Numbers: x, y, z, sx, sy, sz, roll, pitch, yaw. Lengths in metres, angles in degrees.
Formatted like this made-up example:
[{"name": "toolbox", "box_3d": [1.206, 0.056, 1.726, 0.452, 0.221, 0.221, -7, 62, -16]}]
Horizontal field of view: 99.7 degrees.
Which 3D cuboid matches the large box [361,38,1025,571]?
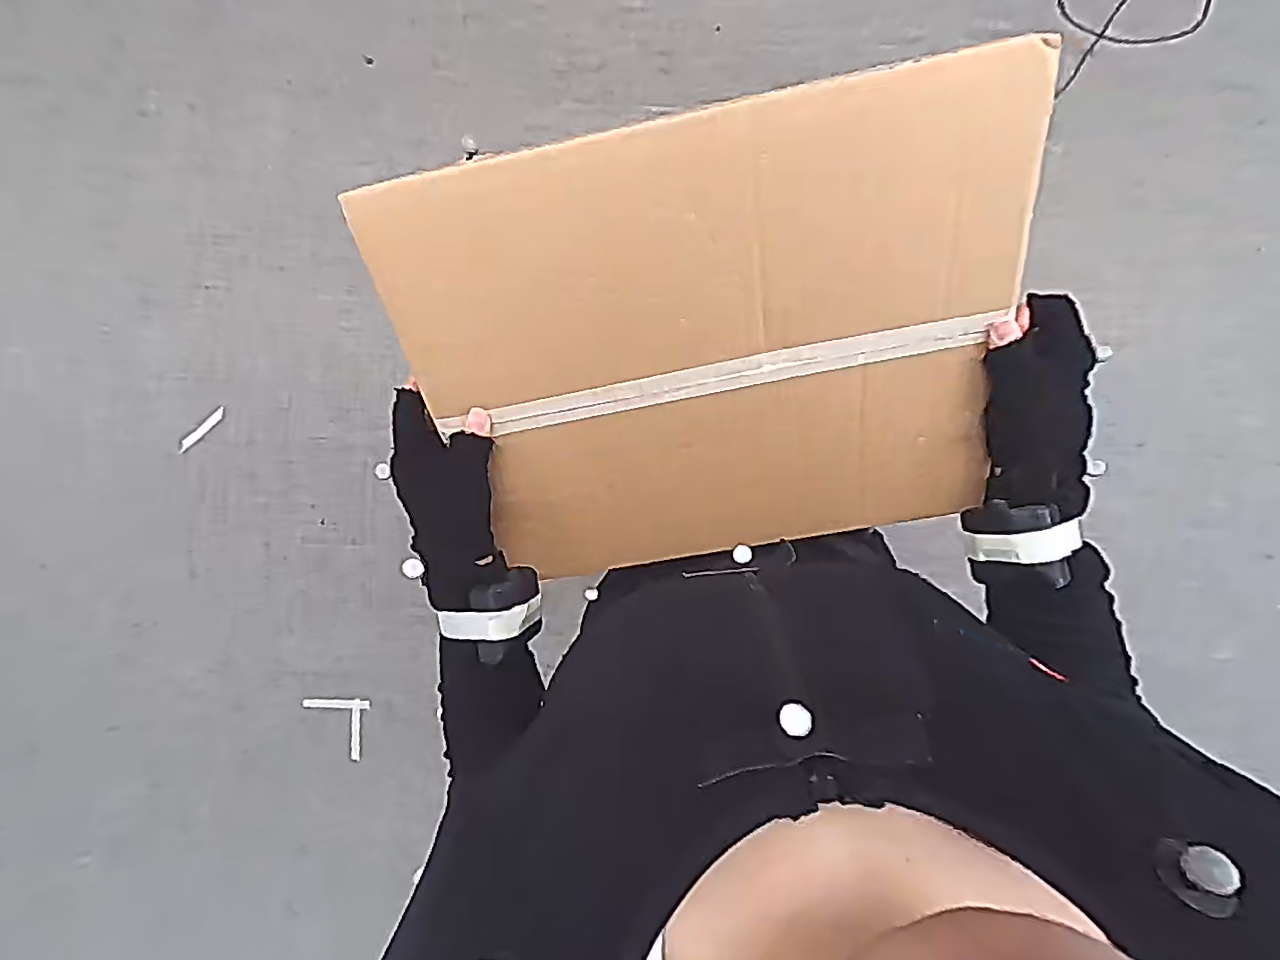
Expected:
[{"name": "large box", "box_3d": [0.044, -0.157, 0.517, 0.408, 0.320, 0.320, -10, 123, 5]}]
